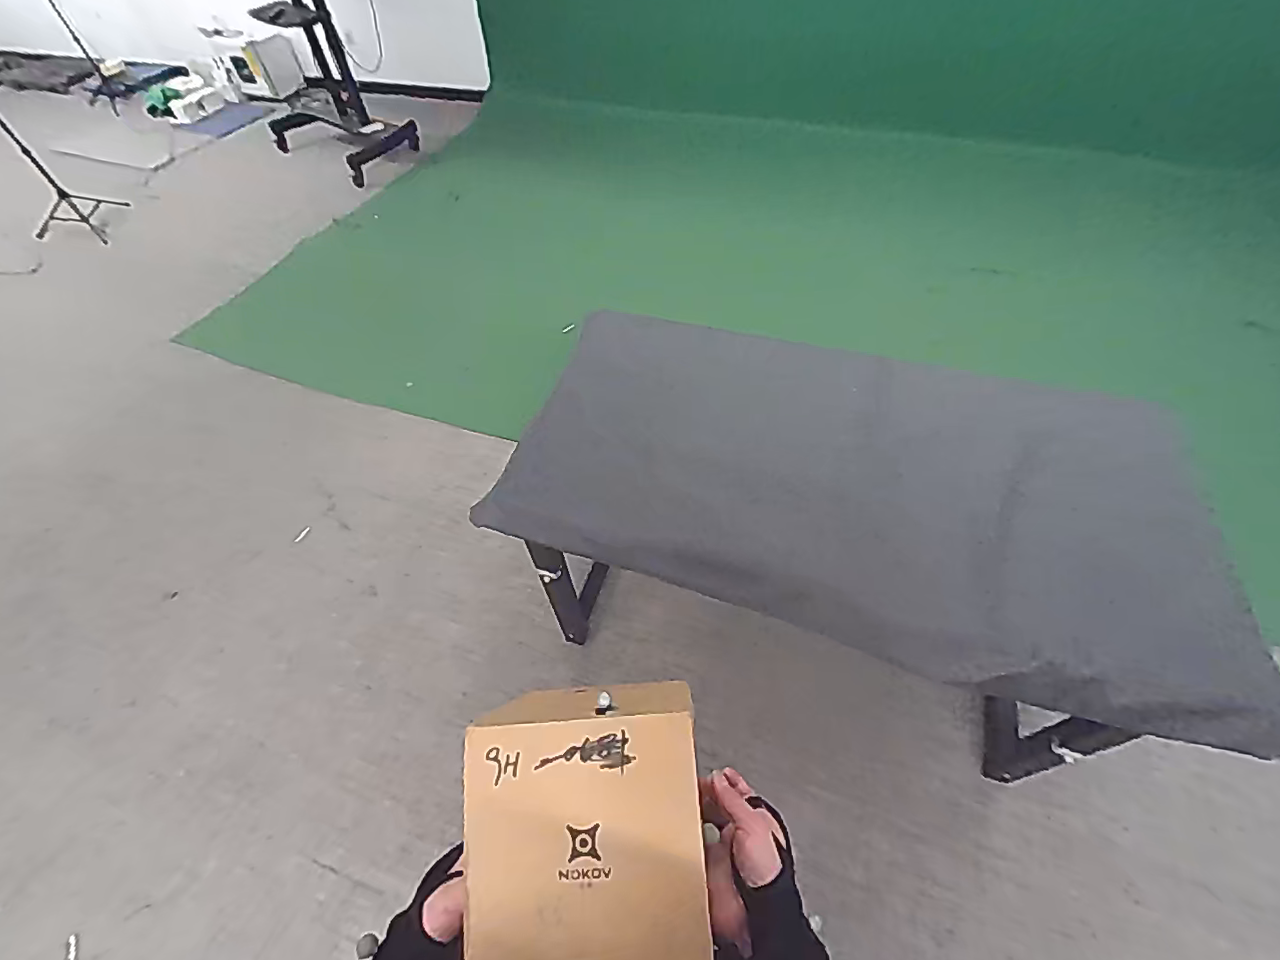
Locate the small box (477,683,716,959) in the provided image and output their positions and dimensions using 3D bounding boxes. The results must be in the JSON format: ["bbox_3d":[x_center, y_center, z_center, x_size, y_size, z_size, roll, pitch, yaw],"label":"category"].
[{"bbox_3d":[-0.028,0.280,0.455,0.168,0.176,0.179,-5,78,2],"label":"small box"}]
